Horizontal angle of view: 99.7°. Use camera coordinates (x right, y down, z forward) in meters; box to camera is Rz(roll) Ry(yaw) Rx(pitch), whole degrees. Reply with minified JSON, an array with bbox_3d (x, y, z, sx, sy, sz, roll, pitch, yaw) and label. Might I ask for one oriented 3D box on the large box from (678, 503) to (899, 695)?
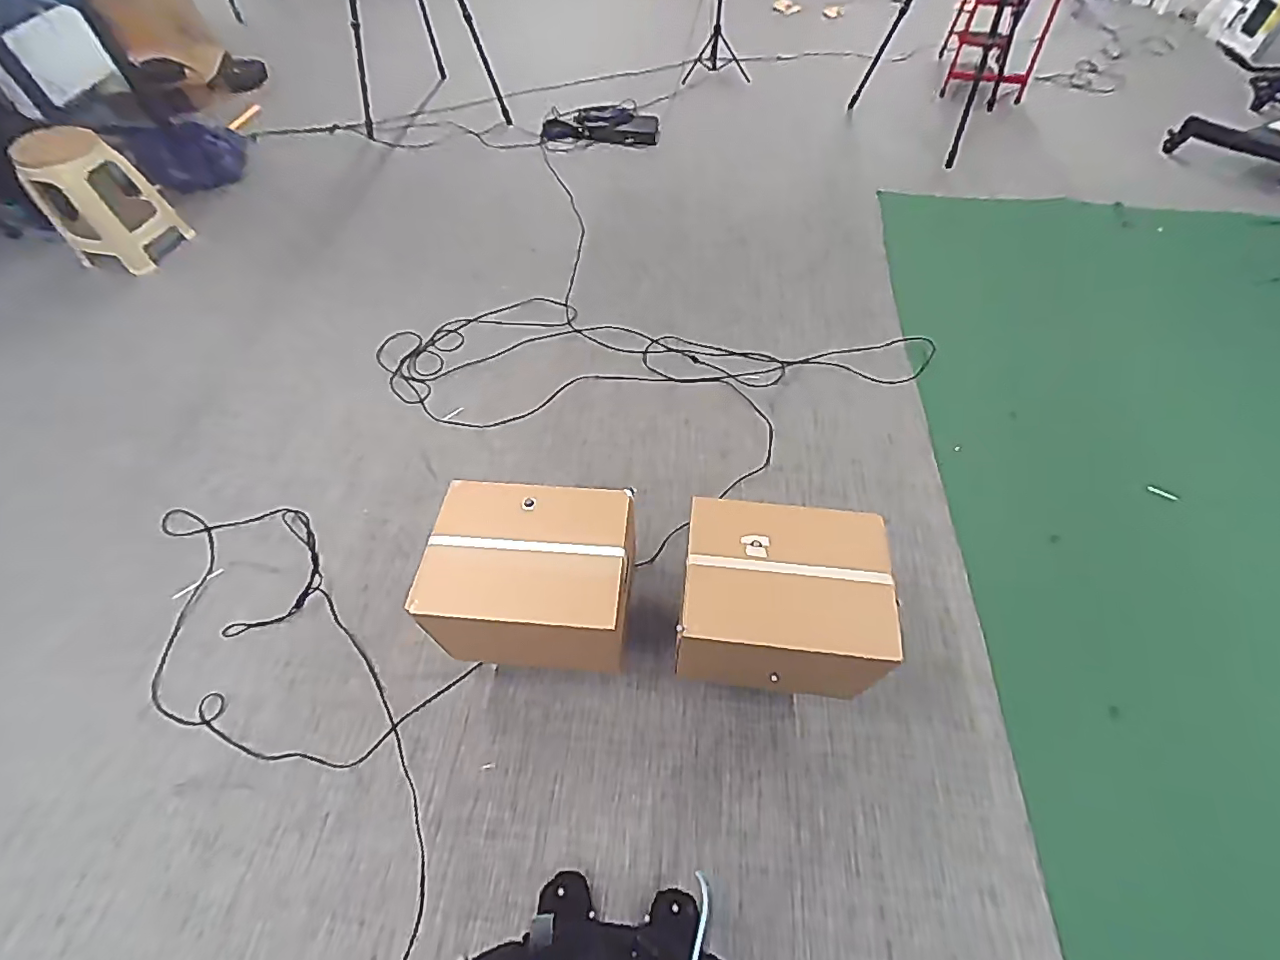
[{"bbox_3d":[0.303,0.275,1.213,0.408,0.320,0.320,6,56,5],"label":"large box"}]
